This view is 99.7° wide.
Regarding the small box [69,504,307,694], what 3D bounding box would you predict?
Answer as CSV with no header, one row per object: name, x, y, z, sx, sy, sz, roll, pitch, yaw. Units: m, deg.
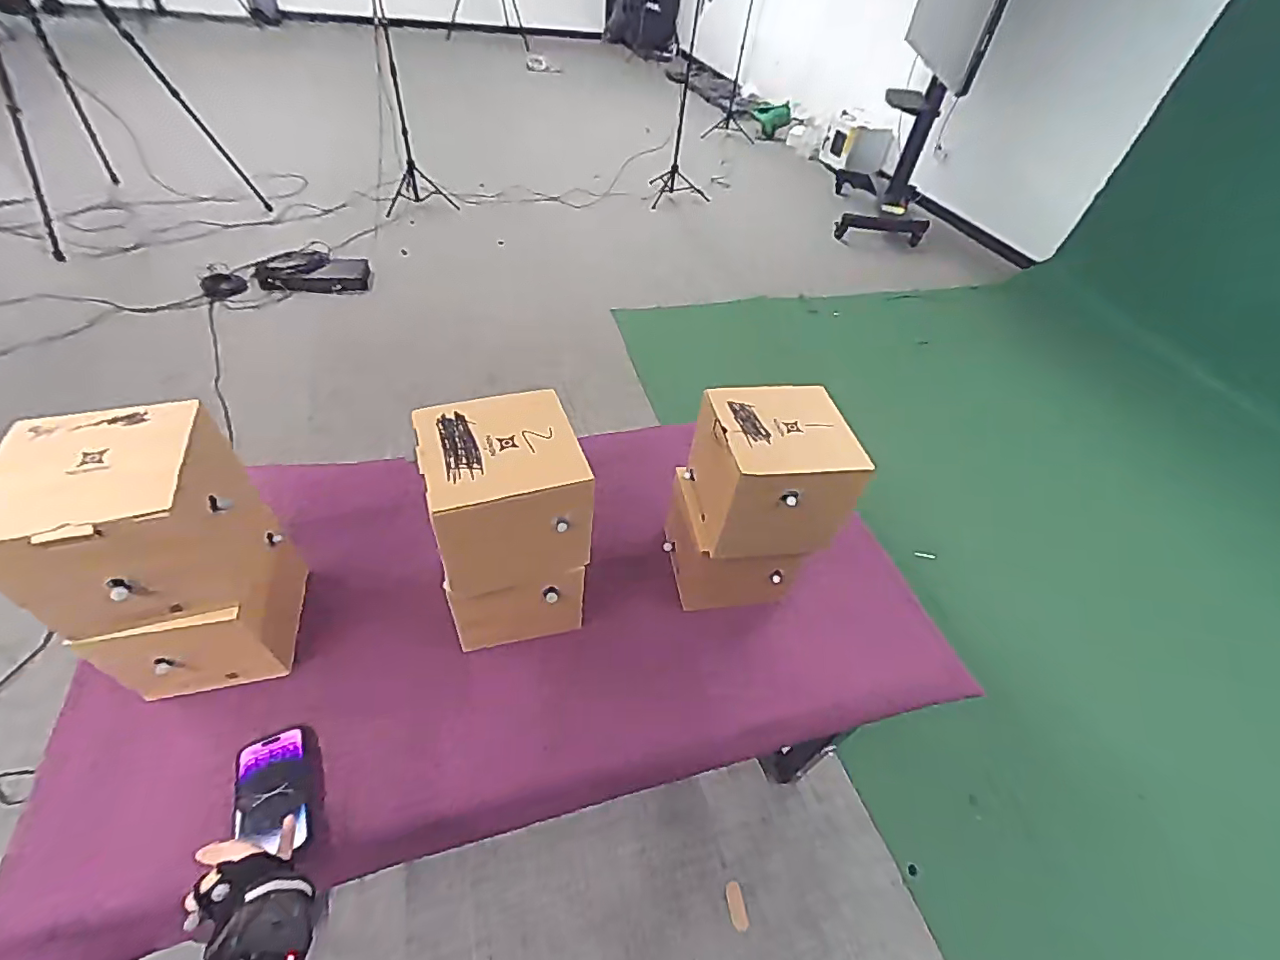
small box,-0.561,0.160,0.706,0.168,0.176,0.179,-8,48,-14

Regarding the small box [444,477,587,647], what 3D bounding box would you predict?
small box,-0.181,0.120,0.789,0.179,0.176,0.168,-8,48,-14

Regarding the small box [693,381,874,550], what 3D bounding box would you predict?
small box,0.176,-0.018,0.739,0.179,0.176,0.168,-3,47,-11

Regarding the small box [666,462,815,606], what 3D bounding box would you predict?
small box,0.149,0.084,0.865,0.179,0.176,0.168,-4,47,-10

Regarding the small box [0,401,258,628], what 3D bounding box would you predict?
small box,-0.549,0.042,0.593,0.168,0.176,0.179,-11,50,-18
